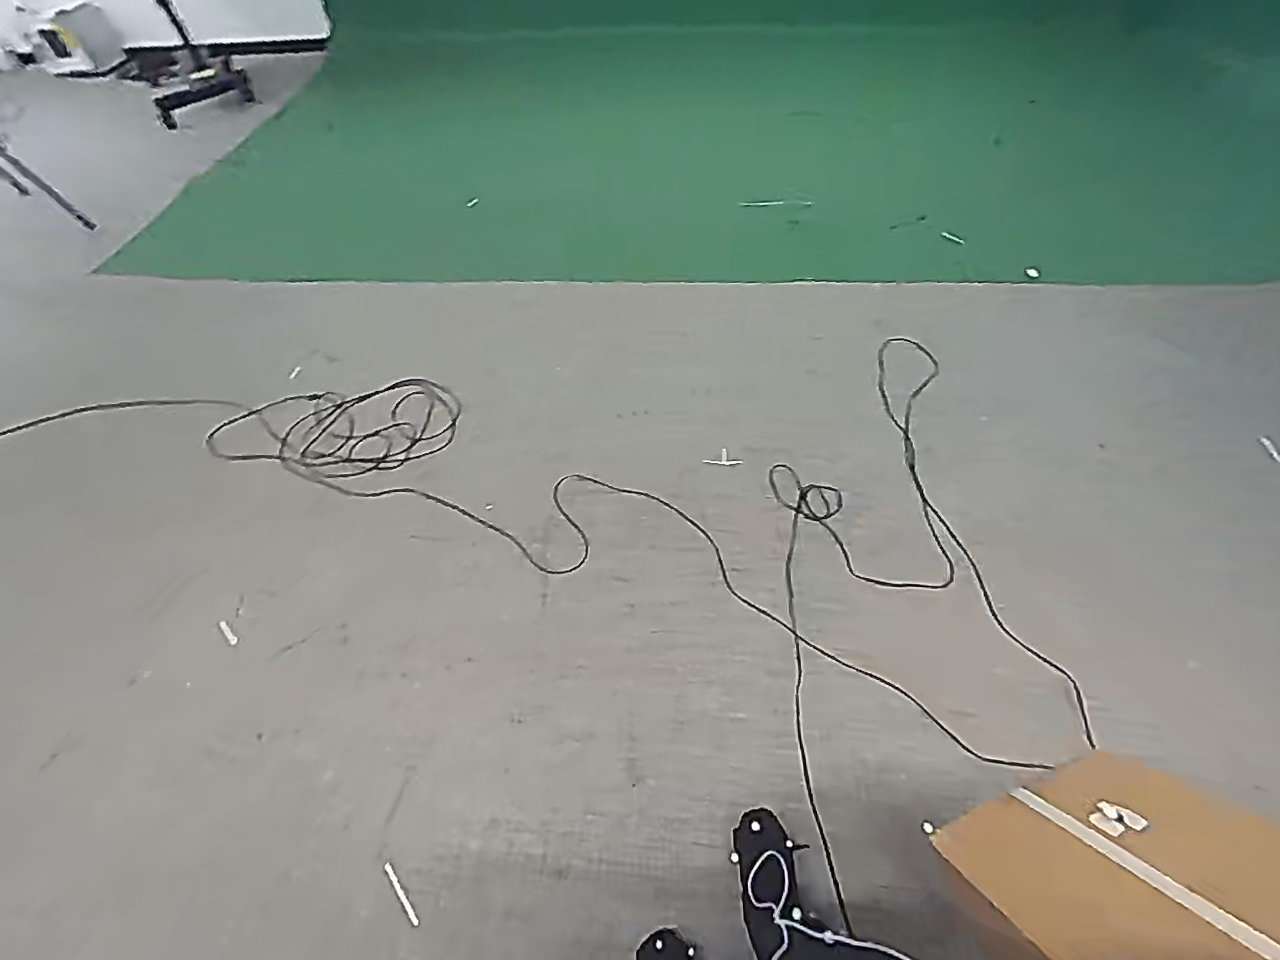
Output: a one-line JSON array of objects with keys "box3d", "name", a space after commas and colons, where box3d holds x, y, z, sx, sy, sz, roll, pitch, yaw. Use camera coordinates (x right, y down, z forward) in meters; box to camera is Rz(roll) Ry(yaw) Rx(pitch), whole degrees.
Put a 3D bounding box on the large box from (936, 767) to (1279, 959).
[{"box3d": [0.654, 0.617, 0.622, 0.320, 0.408, 0.320, -22, 83, -4], "name": "large box"}]
